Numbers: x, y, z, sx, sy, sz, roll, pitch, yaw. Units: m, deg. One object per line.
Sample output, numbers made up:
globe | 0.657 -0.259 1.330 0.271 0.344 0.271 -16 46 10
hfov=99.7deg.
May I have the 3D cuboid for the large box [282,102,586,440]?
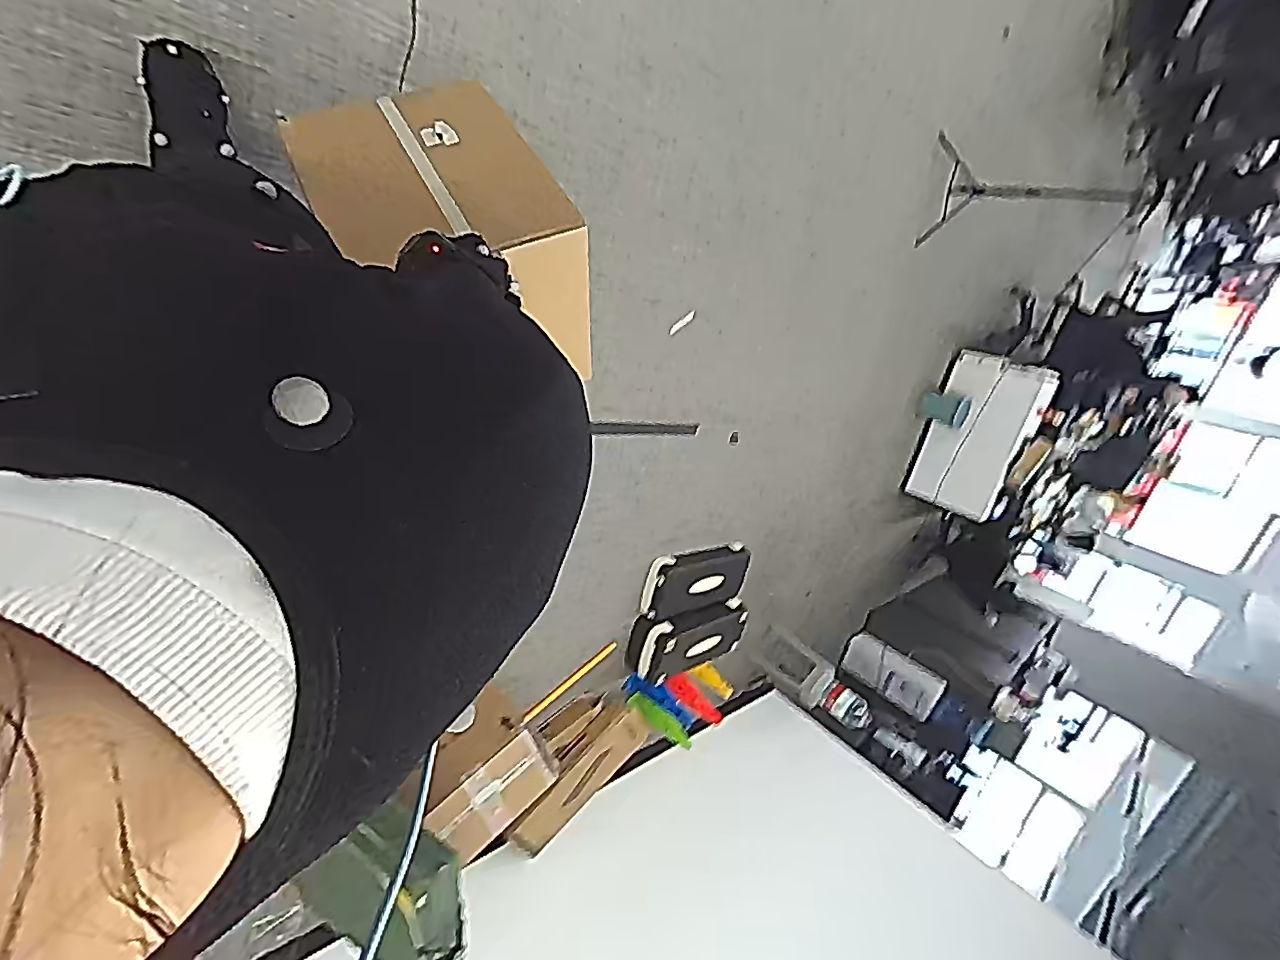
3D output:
large box | -0.316 -0.345 0.902 0.320 0.408 0.320 -24 154 -19
